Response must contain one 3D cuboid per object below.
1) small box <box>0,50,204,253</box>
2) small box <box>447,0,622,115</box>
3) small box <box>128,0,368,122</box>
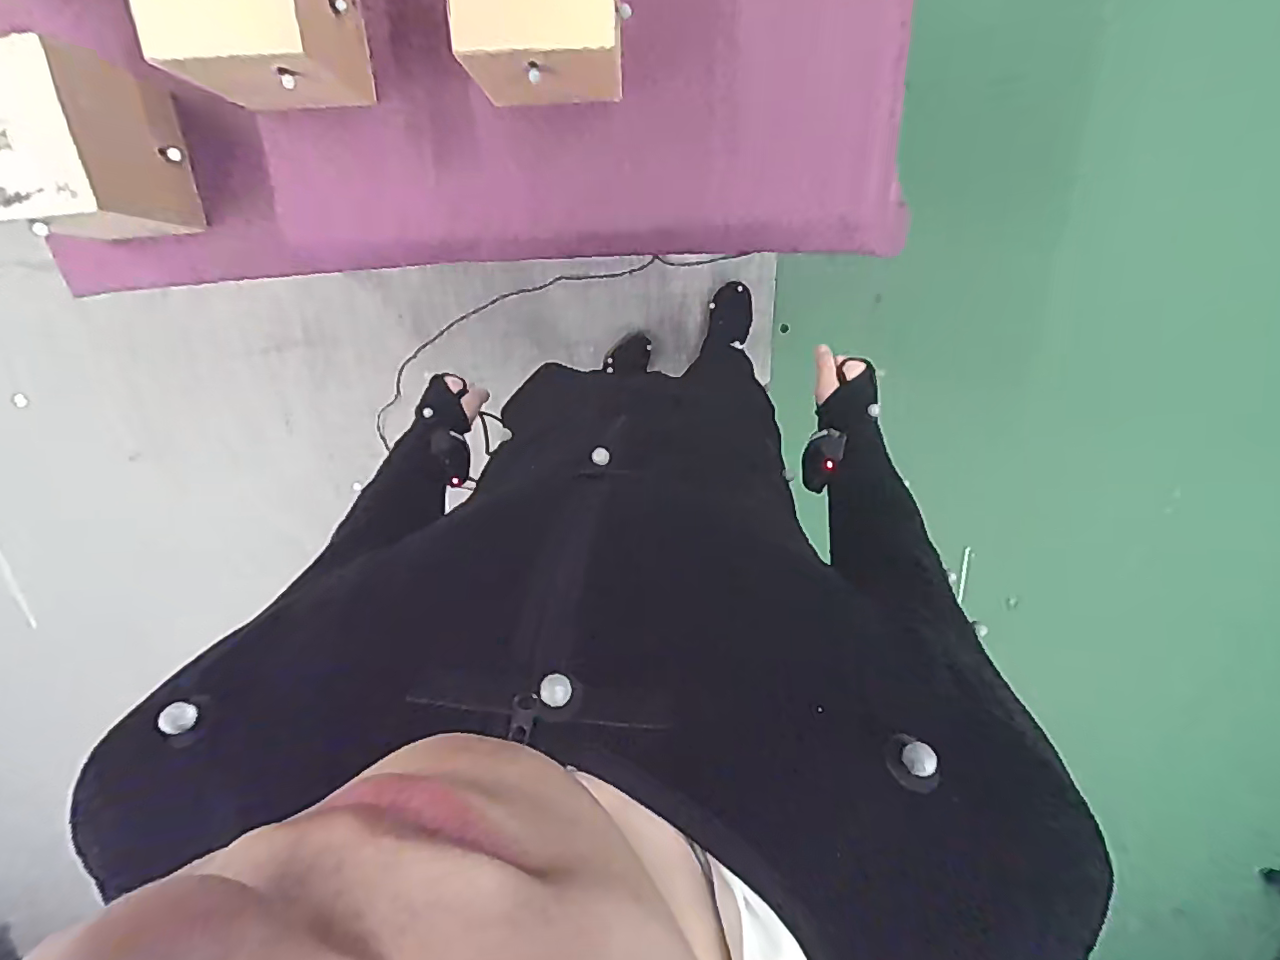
[{"bbox_3d":[-0.705,-0.392,0.676,0.168,0.176,0.179,-3,107,3],"label":"small box"},{"bbox_3d":[-0.111,-0.540,0.622,0.179,0.176,0.168,-1,109,2],"label":"small box"},{"bbox_3d":[-0.441,-0.535,0.626,0.179,0.176,0.168,-1,108,1],"label":"small box"}]
